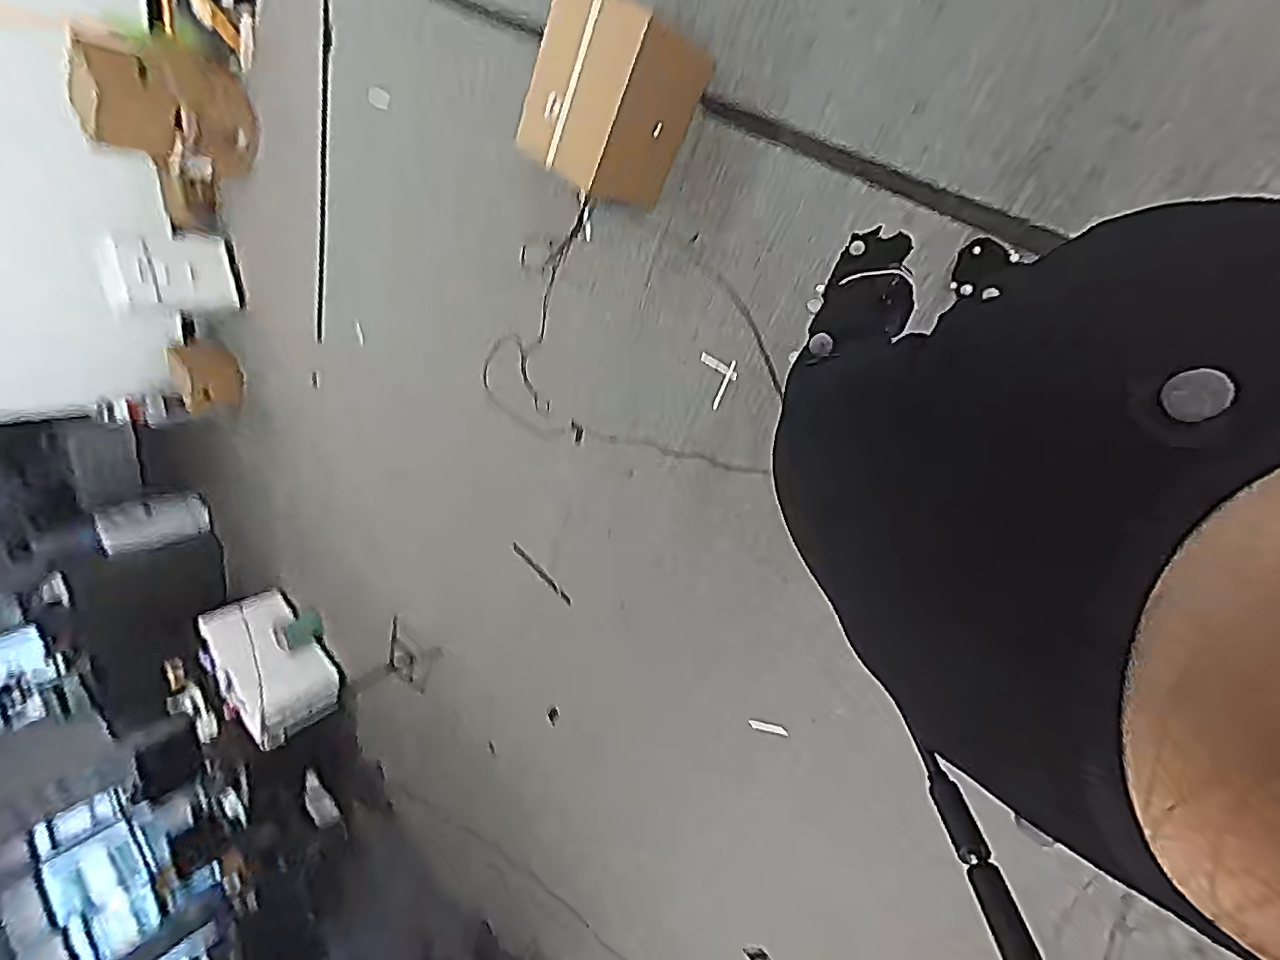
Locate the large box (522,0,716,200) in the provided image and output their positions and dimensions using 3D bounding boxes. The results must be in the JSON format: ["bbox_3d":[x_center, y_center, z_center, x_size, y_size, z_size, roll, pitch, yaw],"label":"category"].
[{"bbox_3d":[-0.061,-1.047,1.470,0.320,0.320,0.408,43,126,19],"label":"large box"}]
